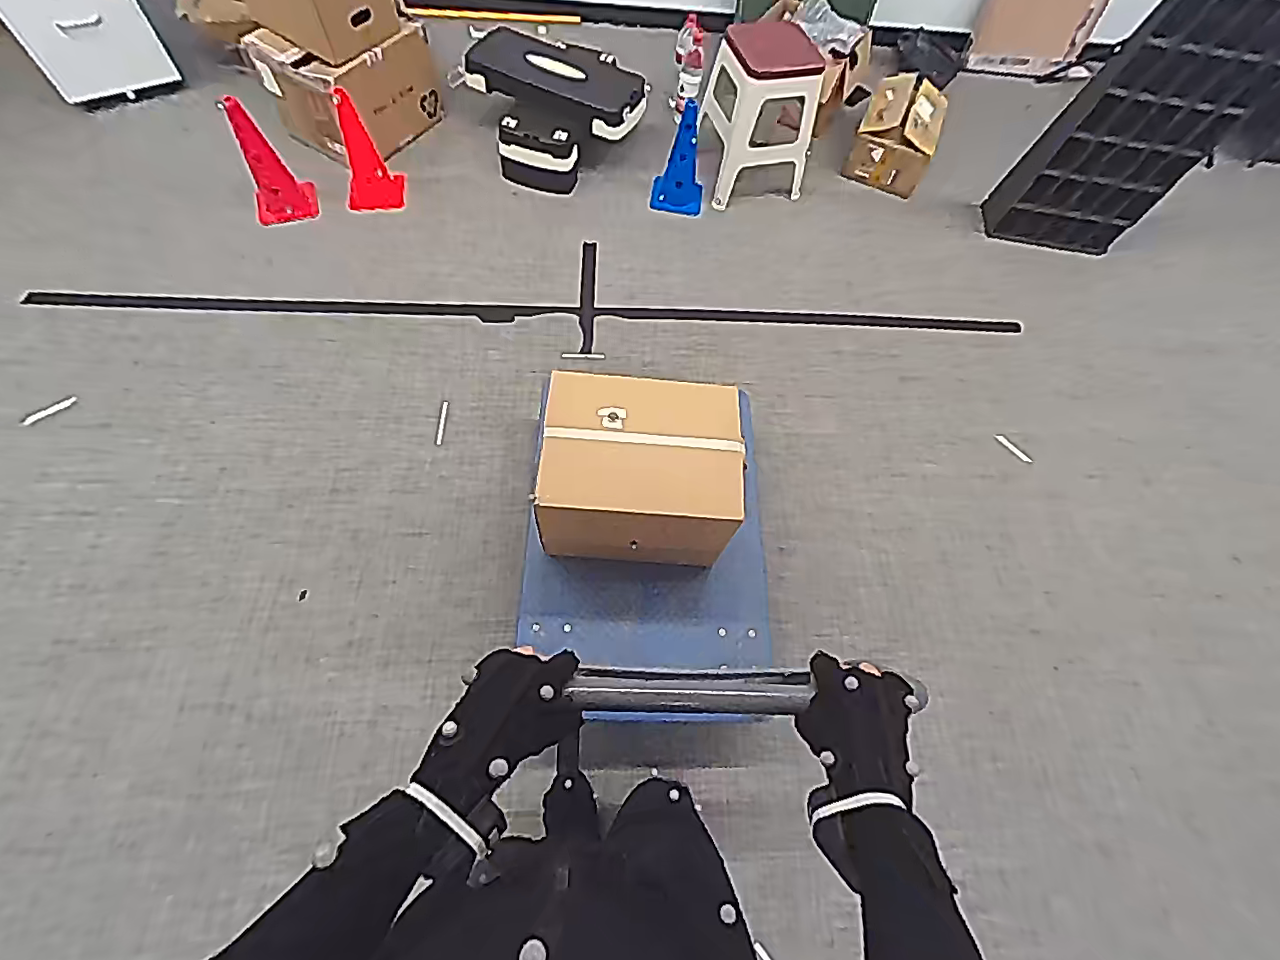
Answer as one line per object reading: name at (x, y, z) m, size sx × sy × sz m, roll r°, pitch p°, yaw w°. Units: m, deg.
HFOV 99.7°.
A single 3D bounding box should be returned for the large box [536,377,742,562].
large box at (-0.003, -0.008, 1.231) m, size 0.408 × 0.320 × 0.320 m, roll 5°, pitch 64°, yaw -3°
